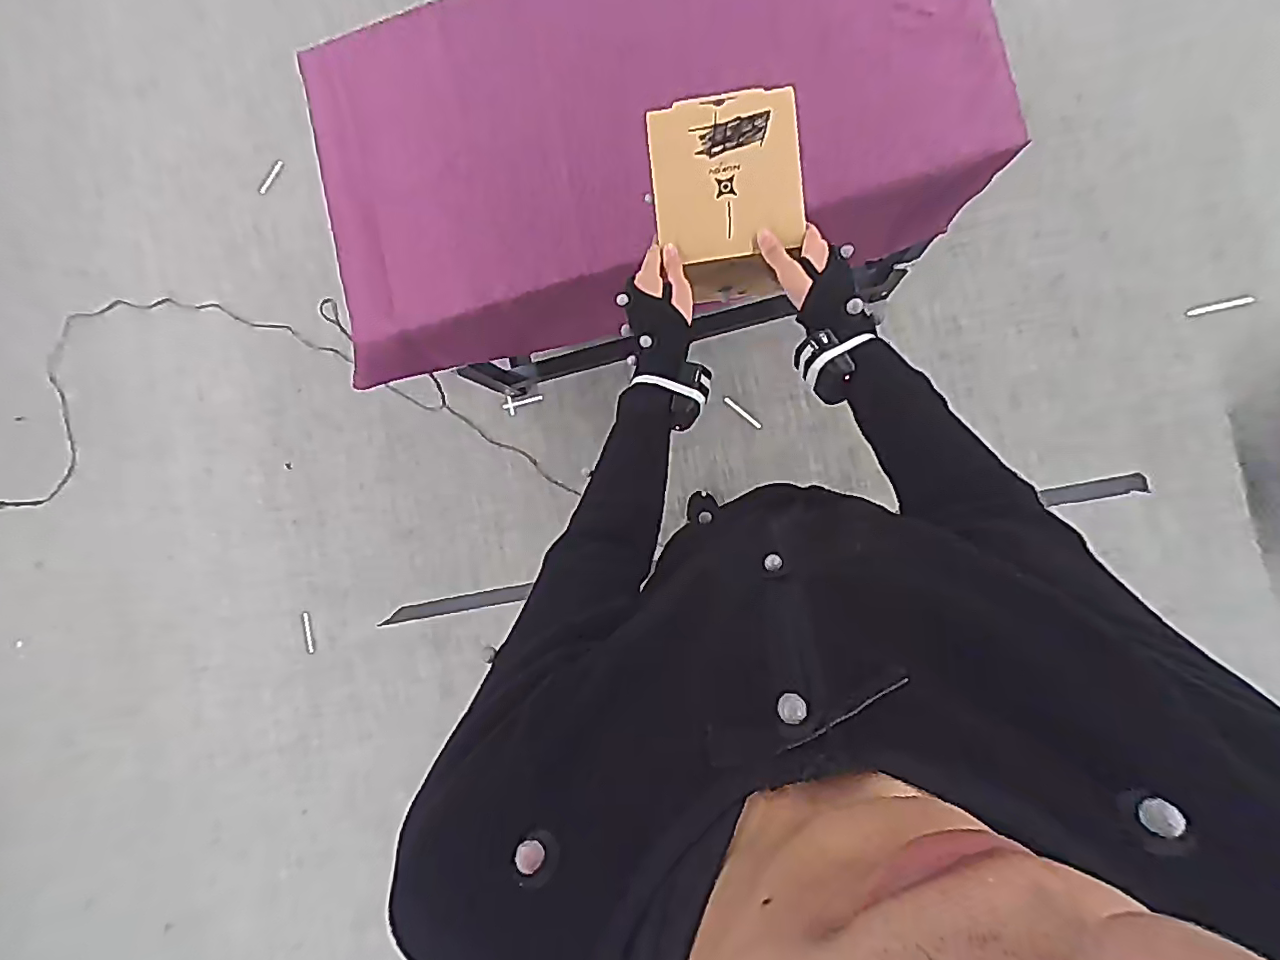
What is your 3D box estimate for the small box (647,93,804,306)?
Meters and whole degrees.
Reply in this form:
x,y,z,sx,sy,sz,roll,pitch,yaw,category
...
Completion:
x,y,z,sx,sy,sz,roll,pitch,yaw,category
0.104,-0.341,0.690,0.168,0.176,0.179,-6,92,7,small box
